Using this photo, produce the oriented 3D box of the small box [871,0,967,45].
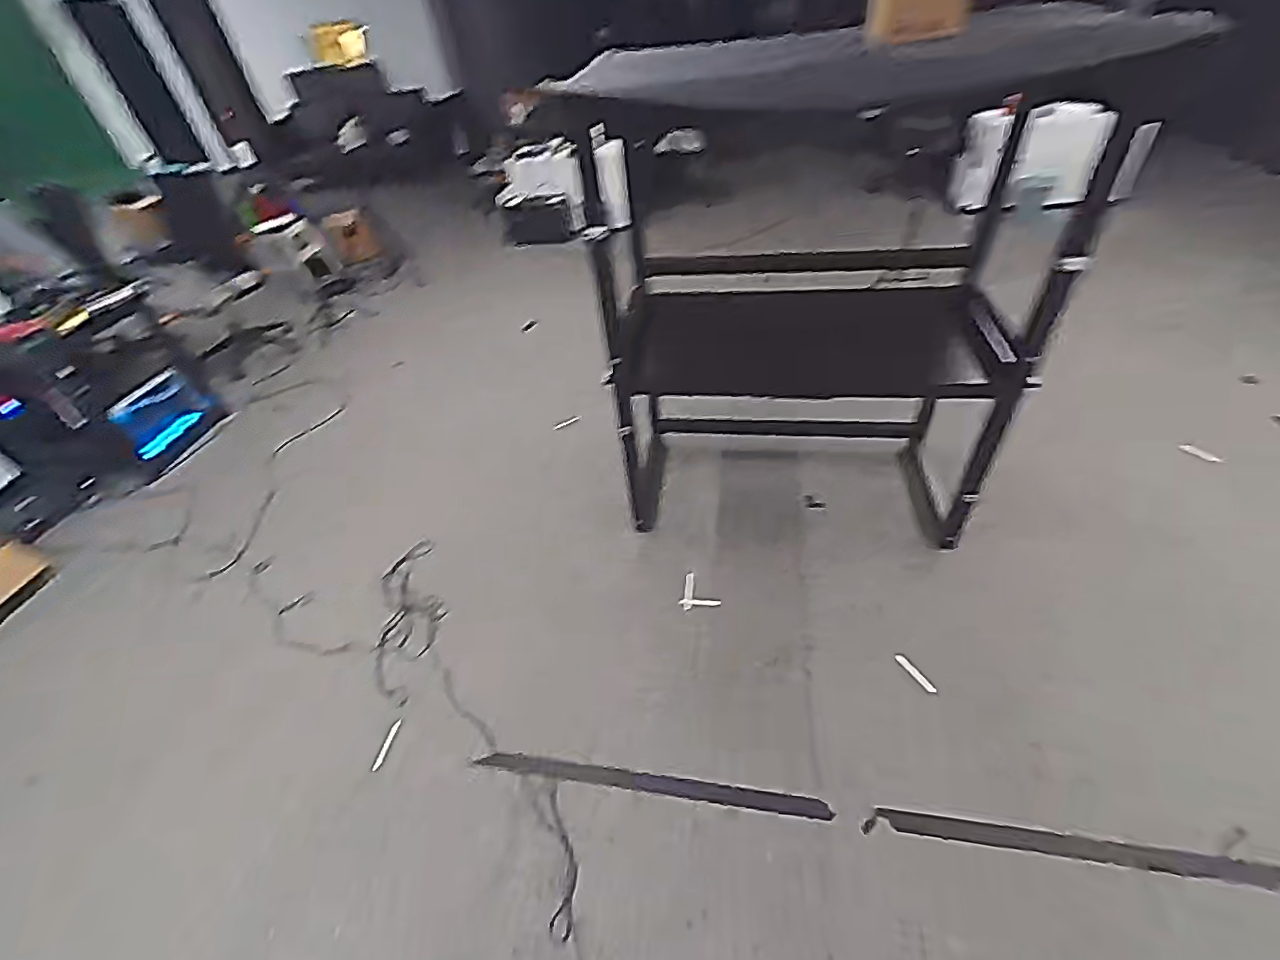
[{"bbox_3d":[0.633,-1.099,1.219,0.168,0.176,0.179,1,43,9],"label":"small box"}]
